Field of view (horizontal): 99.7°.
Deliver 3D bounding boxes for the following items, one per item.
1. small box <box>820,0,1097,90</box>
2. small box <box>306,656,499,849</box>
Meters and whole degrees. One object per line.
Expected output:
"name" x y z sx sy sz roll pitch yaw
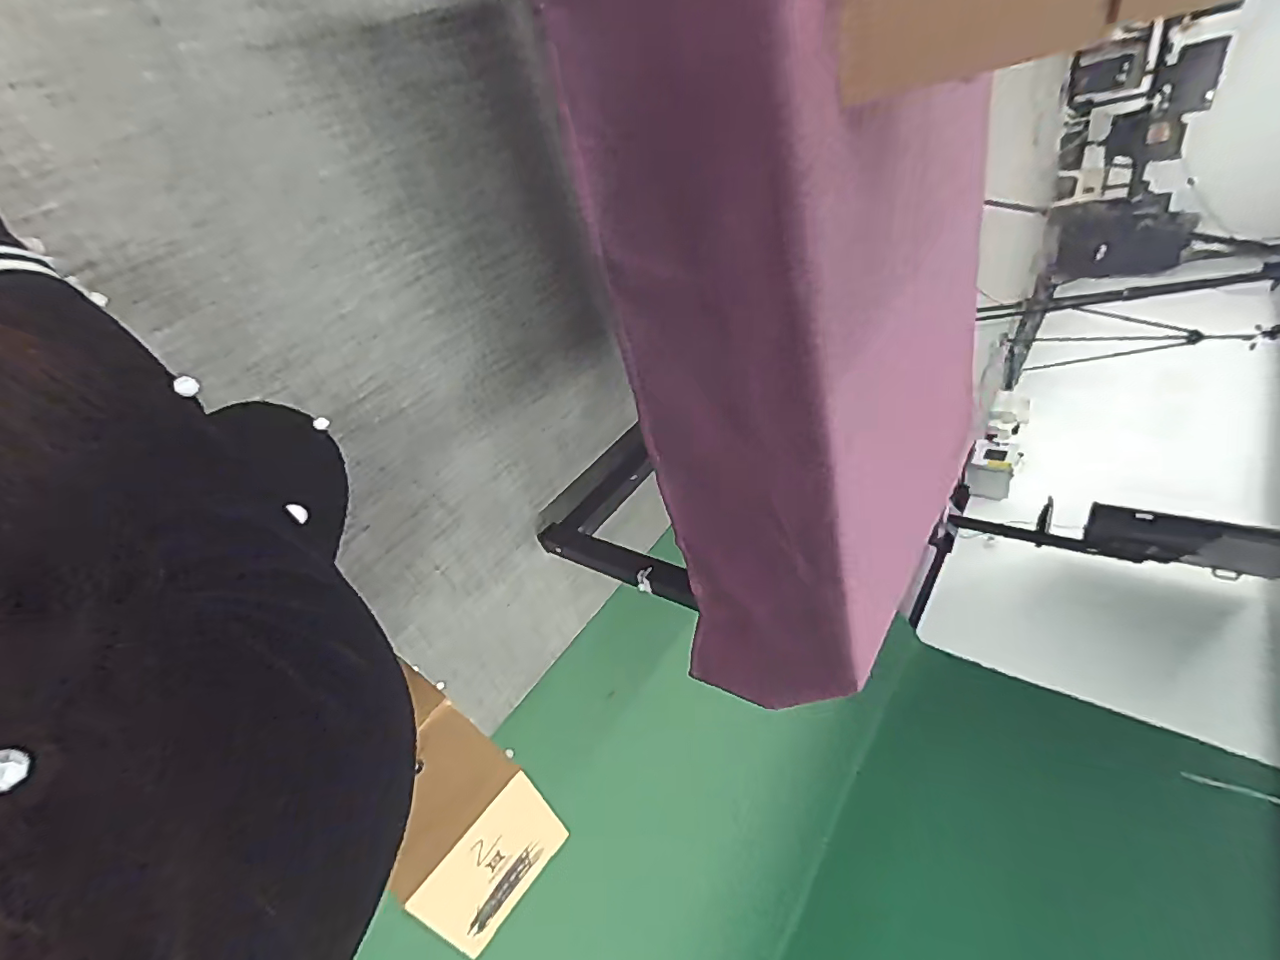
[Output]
"small box" 0.233 -0.401 0.377 0.168 0.176 0.179 -48 134 -32
"small box" -0.351 0.390 0.806 0.168 0.176 0.179 -44 133 -32
